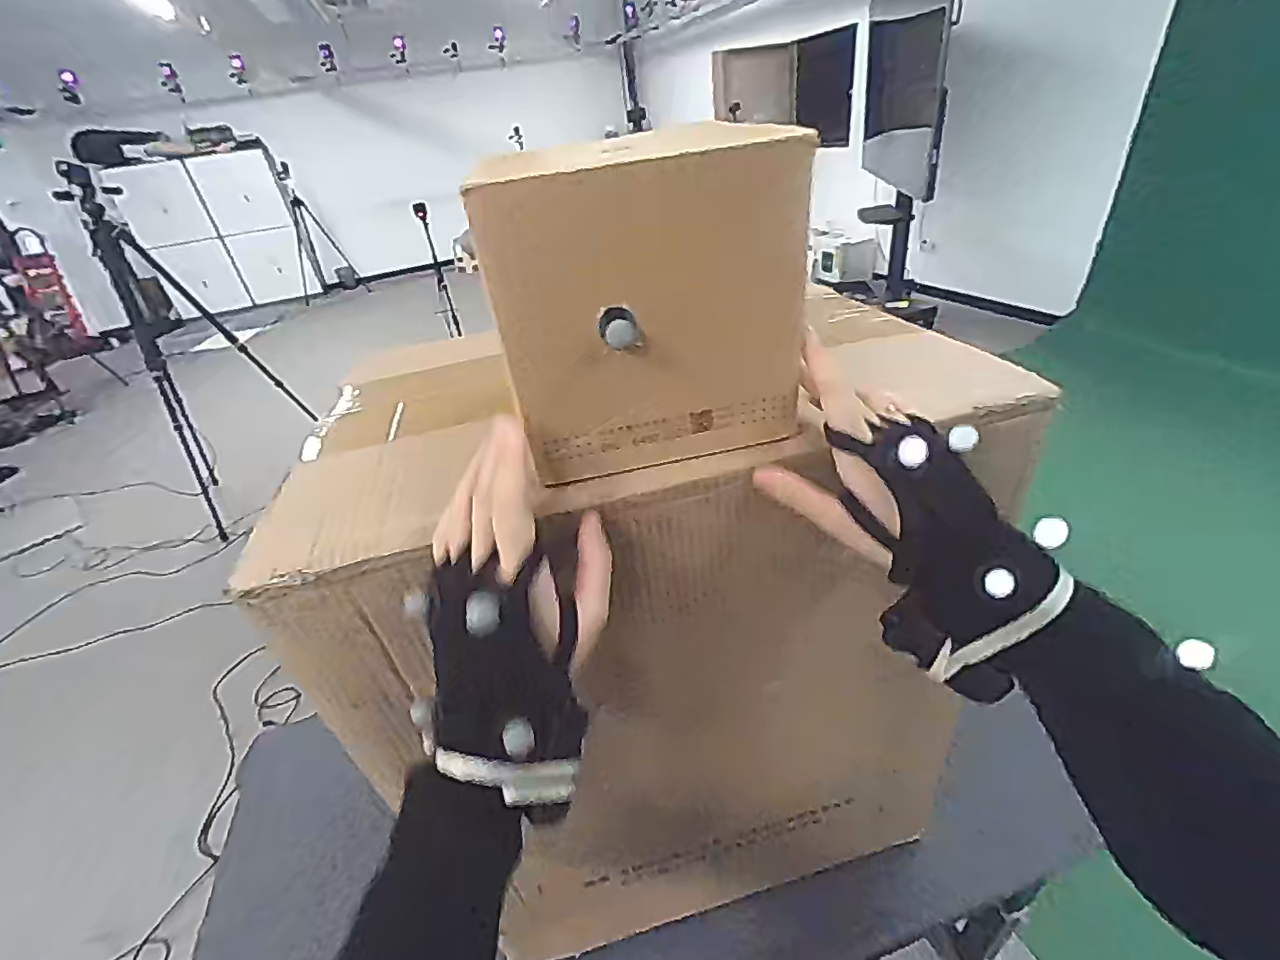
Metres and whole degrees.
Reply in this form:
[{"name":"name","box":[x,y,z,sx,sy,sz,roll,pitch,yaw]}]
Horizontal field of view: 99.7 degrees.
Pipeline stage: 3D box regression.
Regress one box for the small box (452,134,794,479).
[{"name":"small box","box":[-0.009,-0.115,0.358,0.168,0.176,0.179,-12,35,-5]}]
